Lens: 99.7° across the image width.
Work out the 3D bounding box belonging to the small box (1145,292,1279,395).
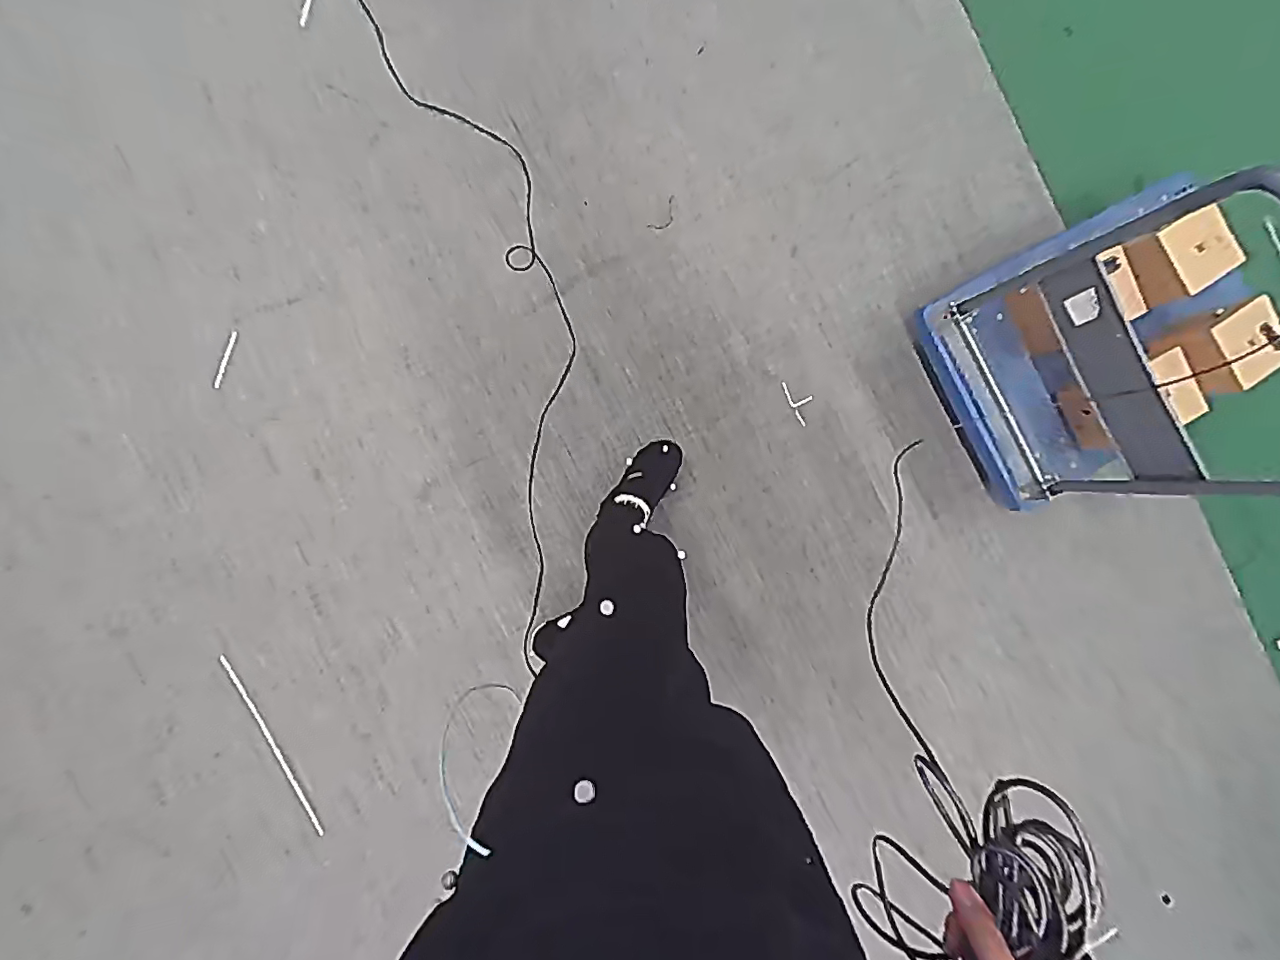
[{"bbox_3d":[1.400,-0.317,1.307,0.179,0.176,0.168,-32,91,-6],"label":"small box"}]

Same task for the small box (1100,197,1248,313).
[{"bbox_3d":[1.266,-0.530,1.301,0.179,0.176,0.168,-32,92,-7],"label":"small box"}]

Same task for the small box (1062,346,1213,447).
[{"bbox_3d":[1.163,-0.191,1.277,0.179,0.176,0.168,-27,91,-6],"label":"small box"}]
